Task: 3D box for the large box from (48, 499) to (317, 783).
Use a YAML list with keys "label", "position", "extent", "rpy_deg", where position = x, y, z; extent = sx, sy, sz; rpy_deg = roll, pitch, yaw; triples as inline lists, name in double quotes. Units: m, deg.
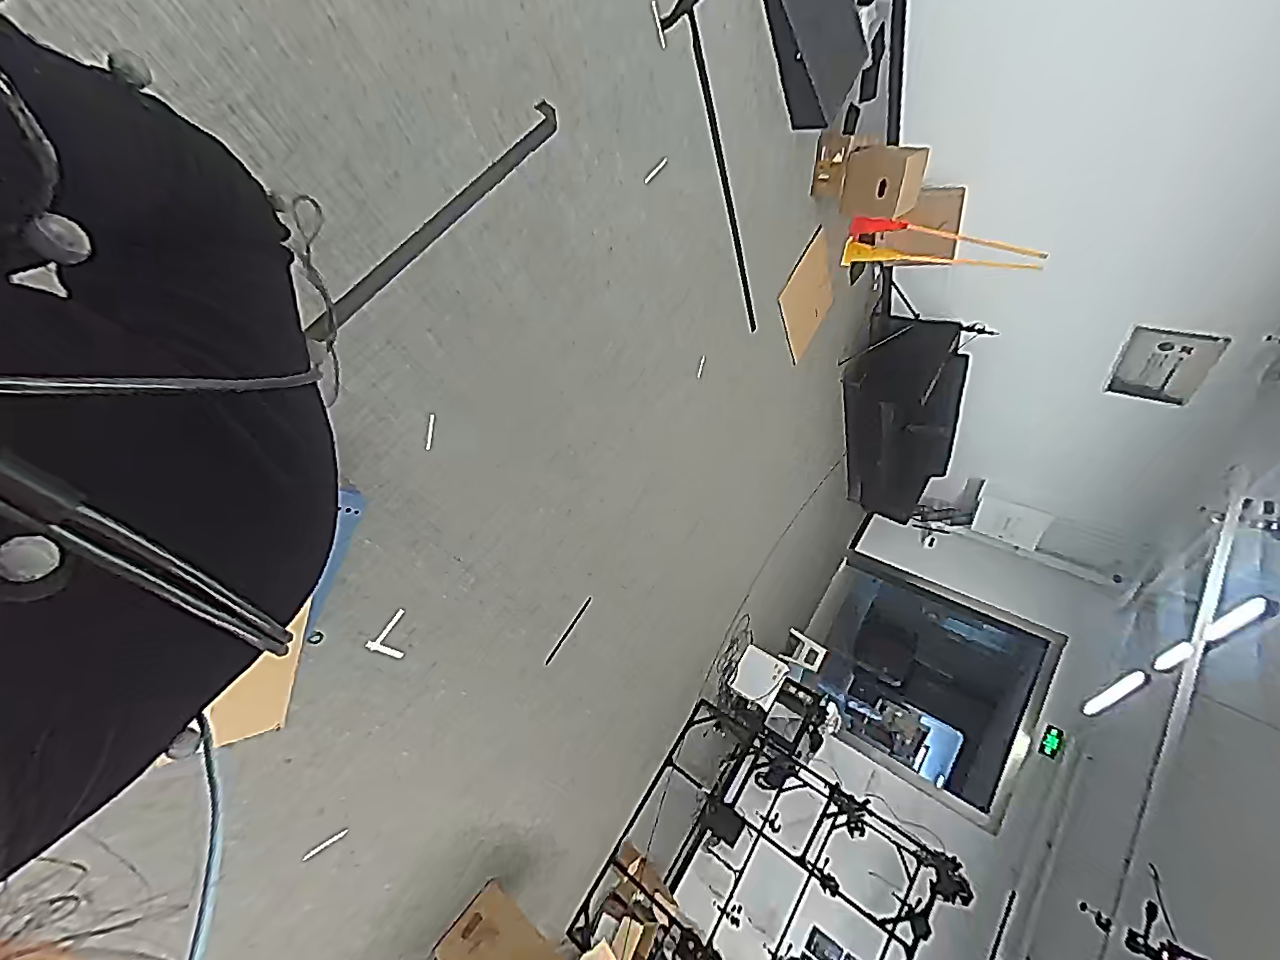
- label: "large box"
  position: [-0.901, 0.274, 1.067]
  extent: [0.320, 0.320, 0.408]
  rpy_deg: [4, 106, -55]
